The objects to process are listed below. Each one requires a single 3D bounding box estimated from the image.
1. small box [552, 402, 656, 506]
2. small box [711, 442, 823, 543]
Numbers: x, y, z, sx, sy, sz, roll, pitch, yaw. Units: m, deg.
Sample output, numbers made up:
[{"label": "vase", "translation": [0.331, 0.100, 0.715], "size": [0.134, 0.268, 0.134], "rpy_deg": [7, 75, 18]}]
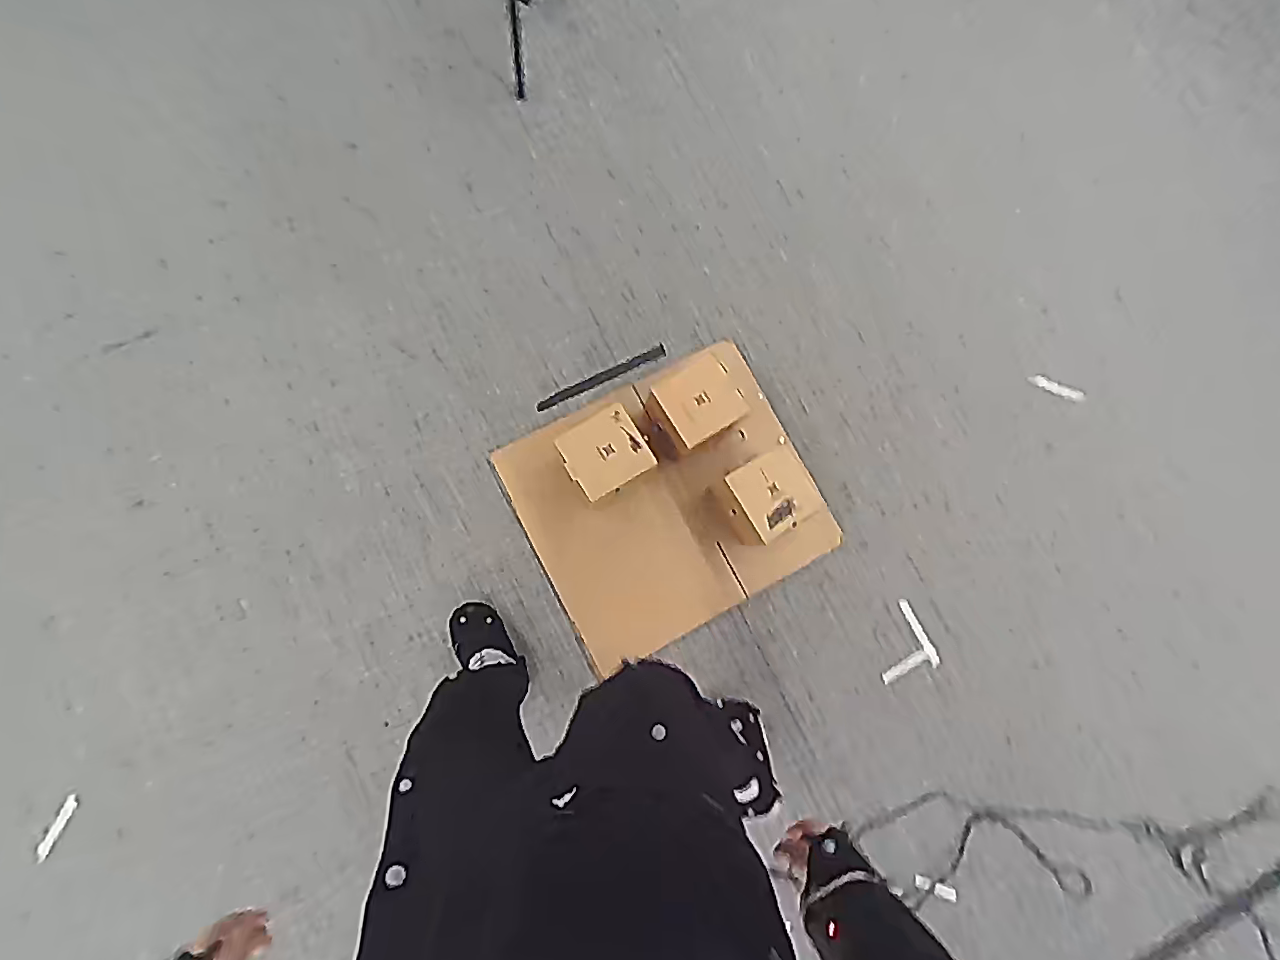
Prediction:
[{"label": "small box", "translation": [-0.081, -0.052, 1.255], "size": [0.179, 0.176, 0.168], "rpy_deg": [-32, 86, -7]}, {"label": "small box", "translation": [0.292, 0.035, 1.277], "size": [0.168, 0.176, 0.179], "rpy_deg": [-31, 85, -8]}]
